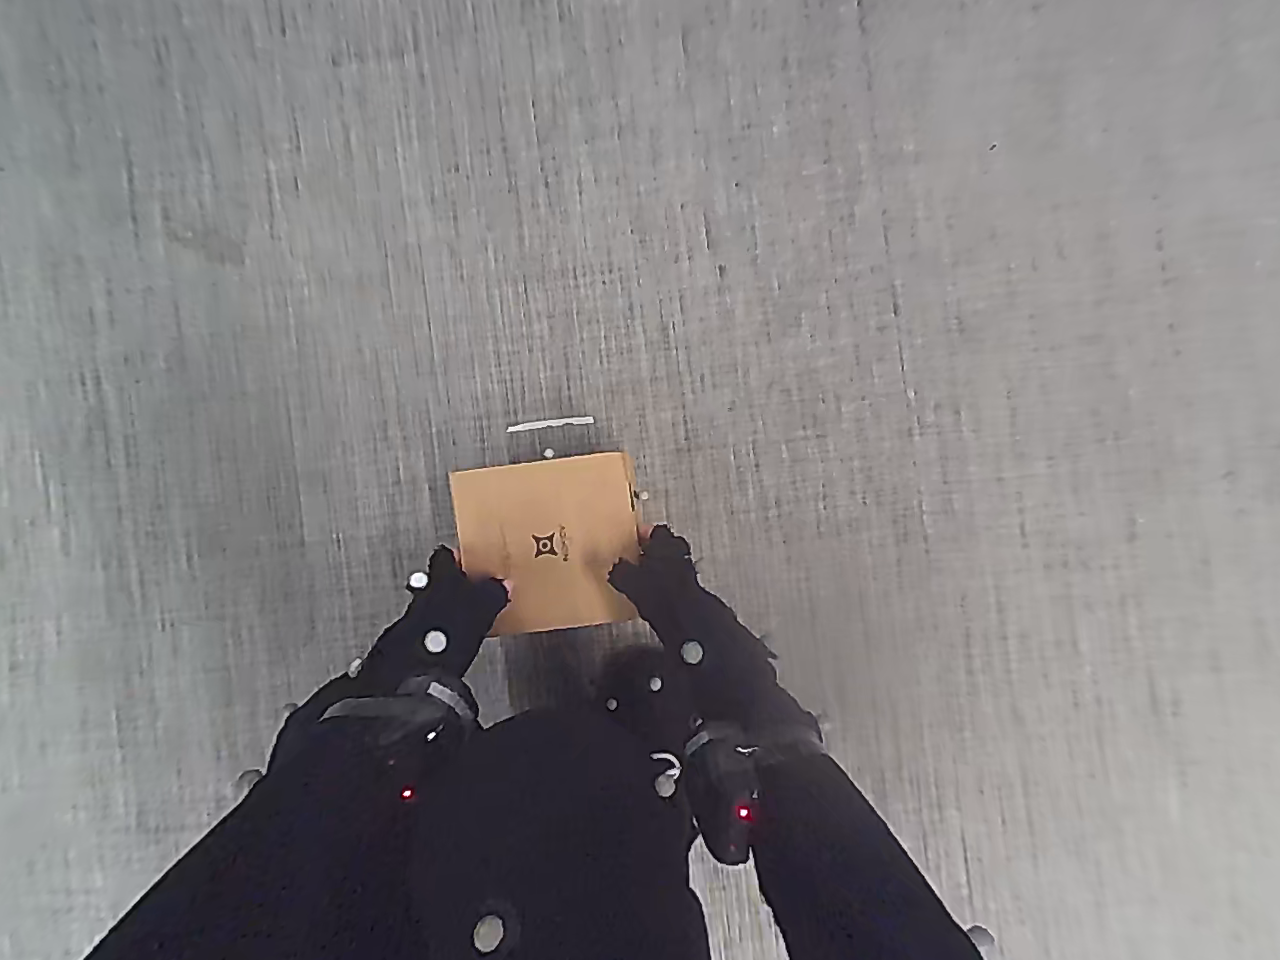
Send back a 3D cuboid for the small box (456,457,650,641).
[{"bbox_3d":[-0.084,0.069,0.609,0.179,0.176,0.168,-8,87,3],"label":"small box"}]
